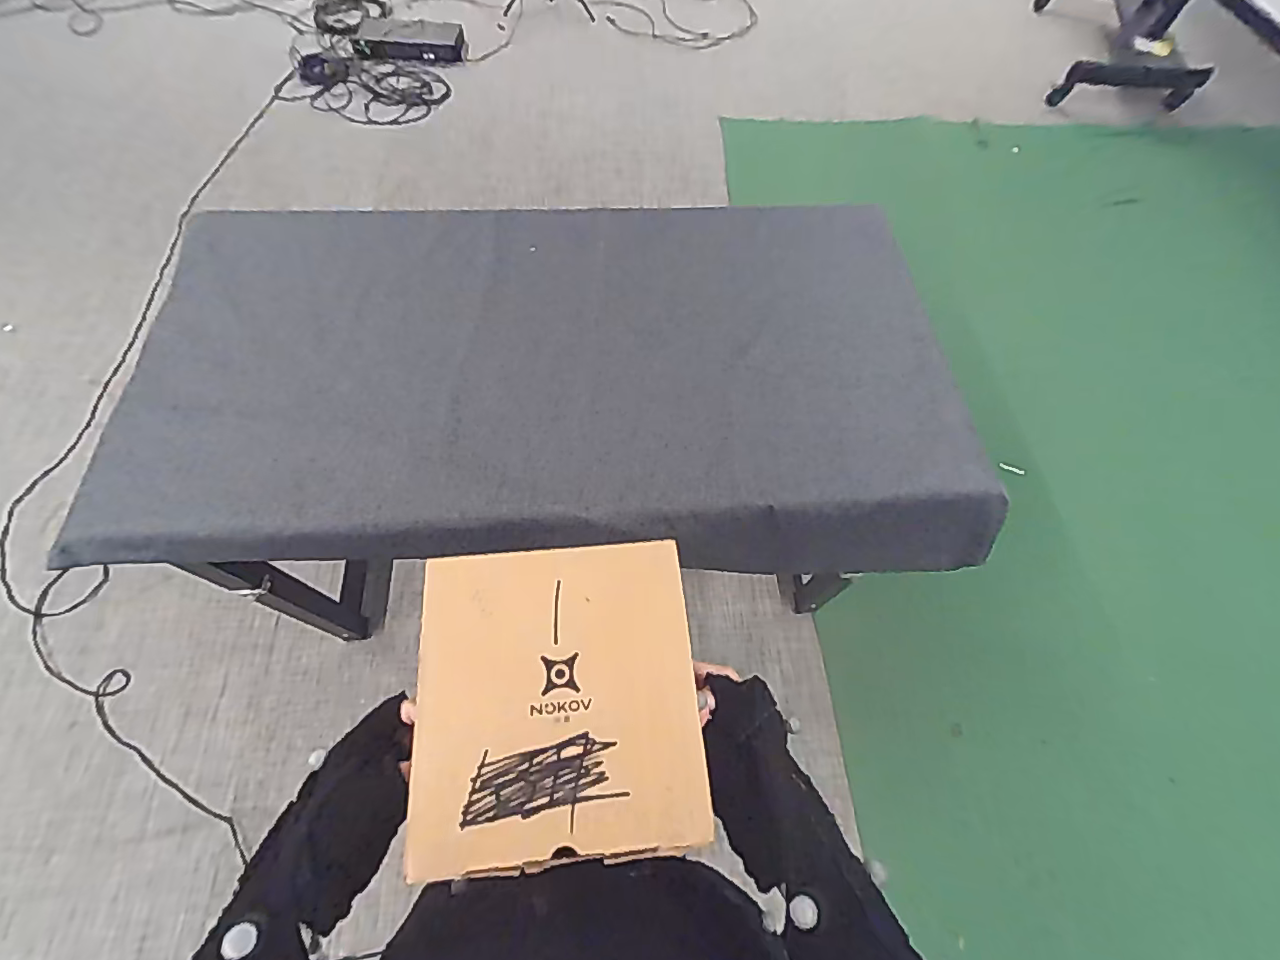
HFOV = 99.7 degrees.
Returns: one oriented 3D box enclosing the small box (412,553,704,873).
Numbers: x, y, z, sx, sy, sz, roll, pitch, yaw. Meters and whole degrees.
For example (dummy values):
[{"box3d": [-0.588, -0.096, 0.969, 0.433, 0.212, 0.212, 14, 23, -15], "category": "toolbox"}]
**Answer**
[{"box3d": [-0.052, 0.165, 0.404, 0.168, 0.176, 0.179, -2, 64, -5], "category": "small box"}]
